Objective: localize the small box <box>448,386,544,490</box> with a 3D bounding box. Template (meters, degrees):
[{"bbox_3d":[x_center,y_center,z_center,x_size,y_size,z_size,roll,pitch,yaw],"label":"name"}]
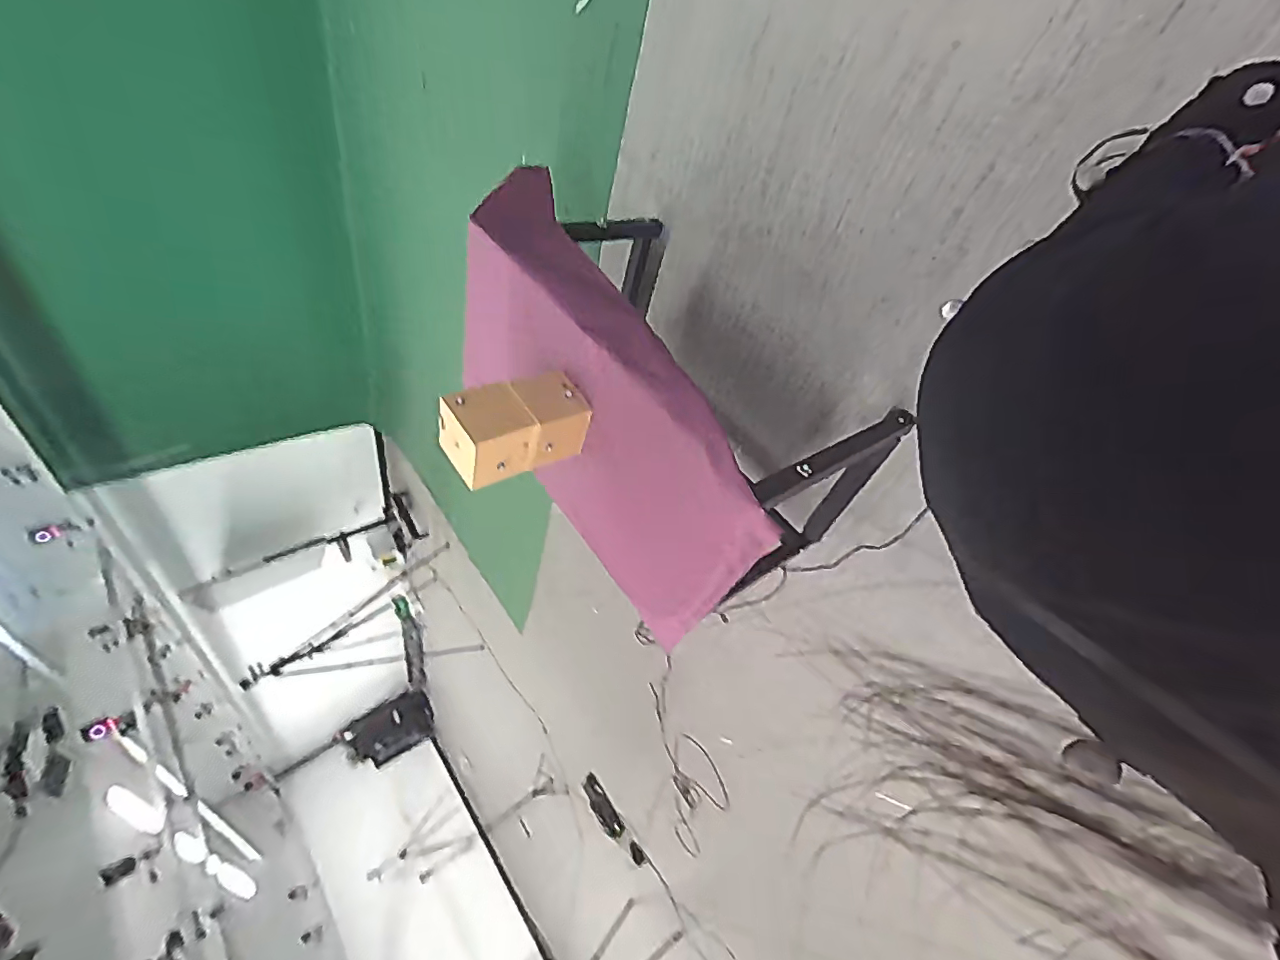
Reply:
[{"bbox_3d":[-0.357,-0.110,1.336,0.179,0.176,0.168,50,142,23],"label":"small box"}]

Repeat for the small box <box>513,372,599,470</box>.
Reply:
[{"bbox_3d":[-0.230,-0.158,1.424,0.168,0.176,0.179,51,141,21],"label":"small box"}]
